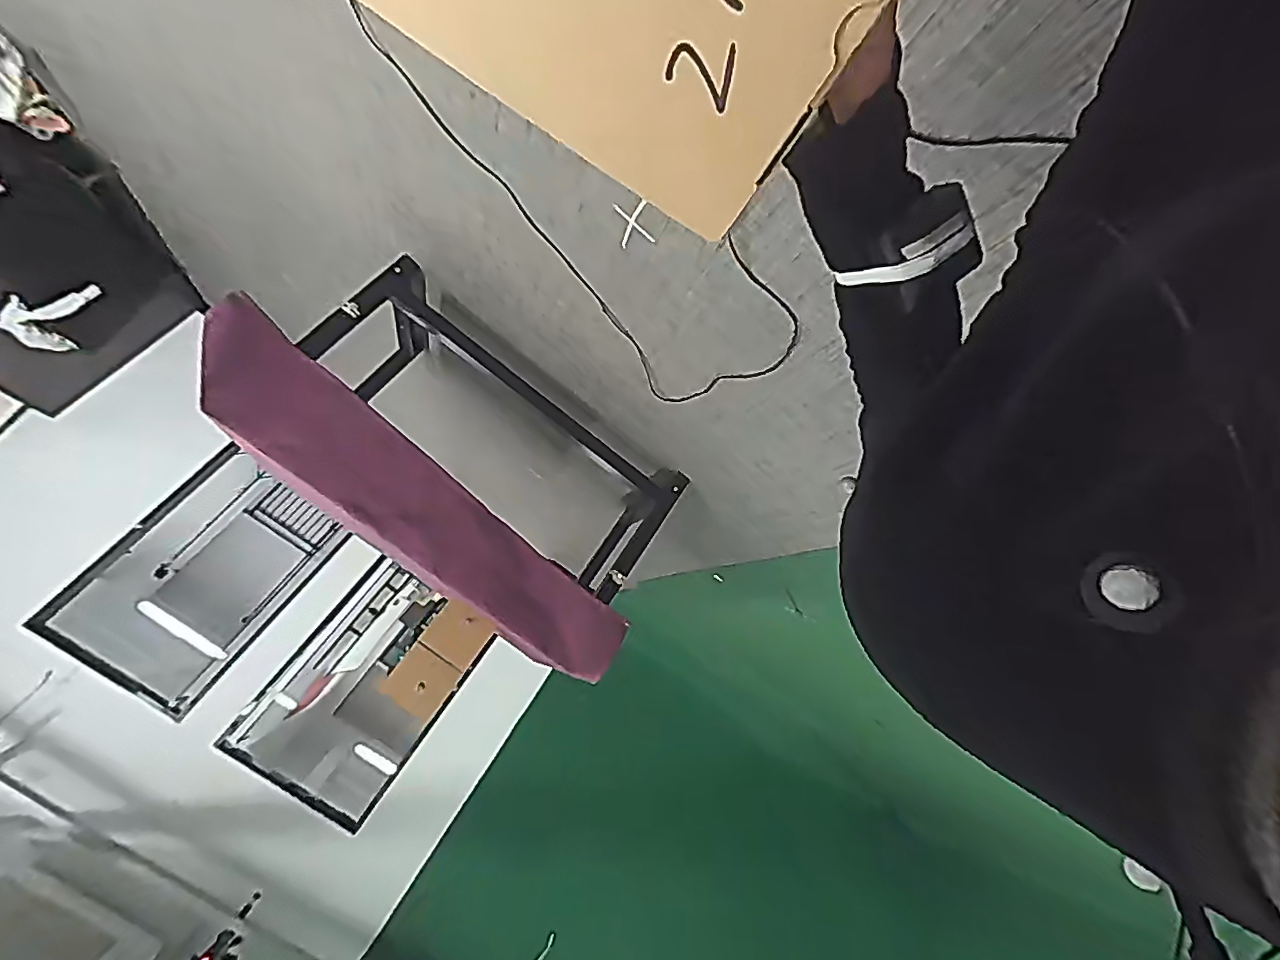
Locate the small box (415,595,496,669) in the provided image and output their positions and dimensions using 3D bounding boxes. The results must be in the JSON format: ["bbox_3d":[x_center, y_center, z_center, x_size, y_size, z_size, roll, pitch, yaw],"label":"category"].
[{"bbox_3d":[-0.591,0.481,1.735,0.179,0.176,0.168,38,156,-5],"label":"small box"}]

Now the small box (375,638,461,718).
[{"bbox_3d":[-0.679,0.603,1.668,0.179,0.176,0.168,37,156,-6],"label":"small box"}]

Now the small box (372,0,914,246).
[{"bbox_3d":[0.025,-0.232,0.184,0.179,0.176,0.168,31,153,-11],"label":"small box"}]
